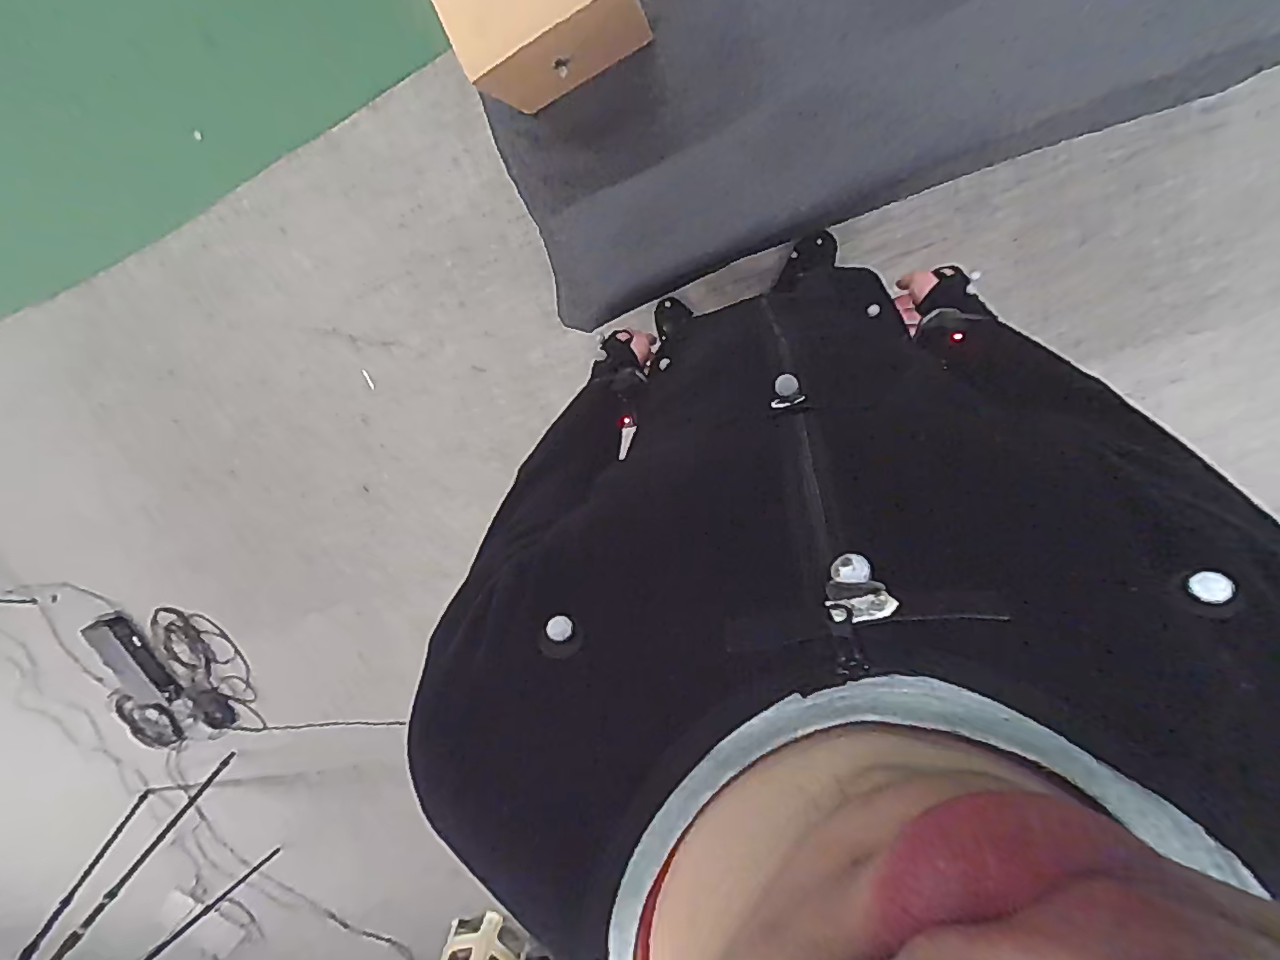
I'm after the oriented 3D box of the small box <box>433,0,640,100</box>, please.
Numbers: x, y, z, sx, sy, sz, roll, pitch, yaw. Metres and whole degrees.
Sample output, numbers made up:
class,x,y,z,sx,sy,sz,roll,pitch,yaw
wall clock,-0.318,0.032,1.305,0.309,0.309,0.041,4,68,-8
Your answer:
class,x,y,z,sx,sy,sz,roll,pitch,yaw
small box,-0.111,-0.529,0.552,0.179,0.176,0.168,-18,111,20
